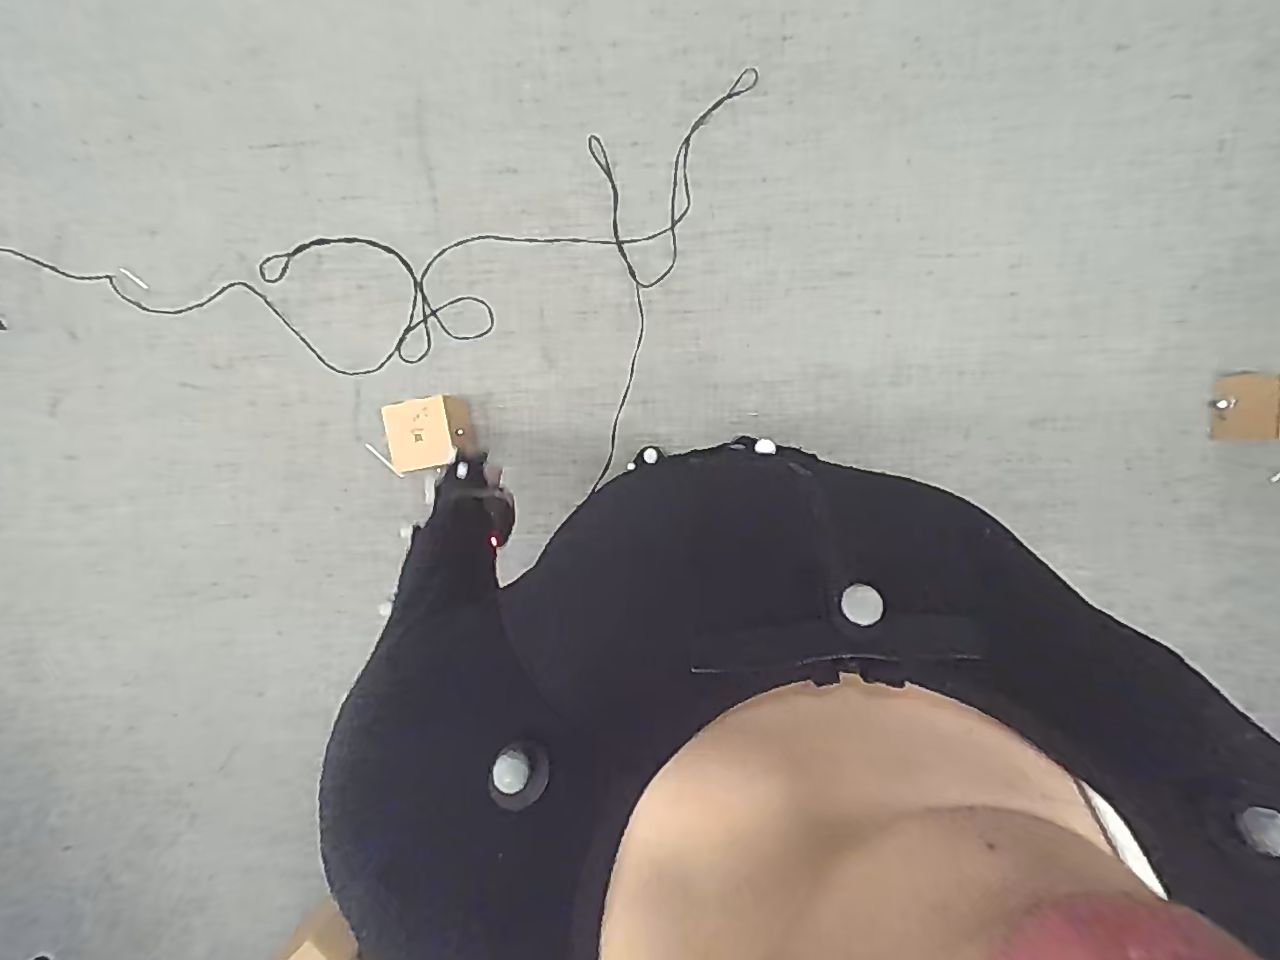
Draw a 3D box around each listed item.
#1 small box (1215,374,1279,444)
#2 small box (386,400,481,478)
[{"bbox_3d":[1.567,-0.171,1.306,0.179,0.176,0.168,-1,93,5],"label":"small box"},{"bbox_3d":[-0.539,-0.109,1.436,0.168,0.176,0.179,-10,93,5],"label":"small box"}]
